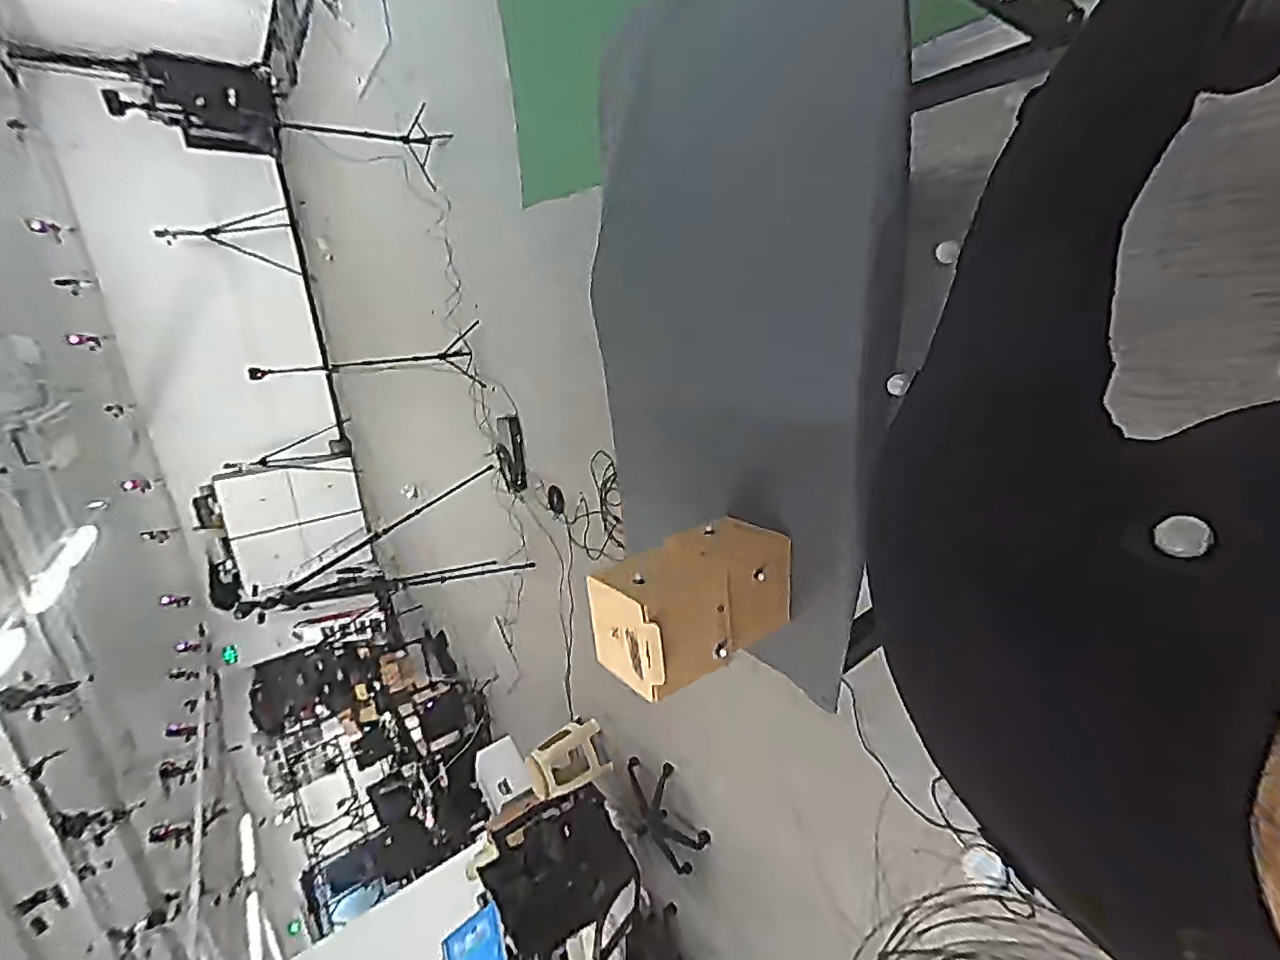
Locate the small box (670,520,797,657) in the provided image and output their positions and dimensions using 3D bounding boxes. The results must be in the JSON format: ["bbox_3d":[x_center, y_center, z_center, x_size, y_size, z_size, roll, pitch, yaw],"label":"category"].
[{"bbox_3d":[0.175,0.187,1.002,0.168,0.176,0.179,17,117,53],"label":"small box"}]

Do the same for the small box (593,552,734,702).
[{"bbox_3d":[0.045,0.233,0.912,0.179,0.176,0.168,11,111,55],"label":"small box"}]
